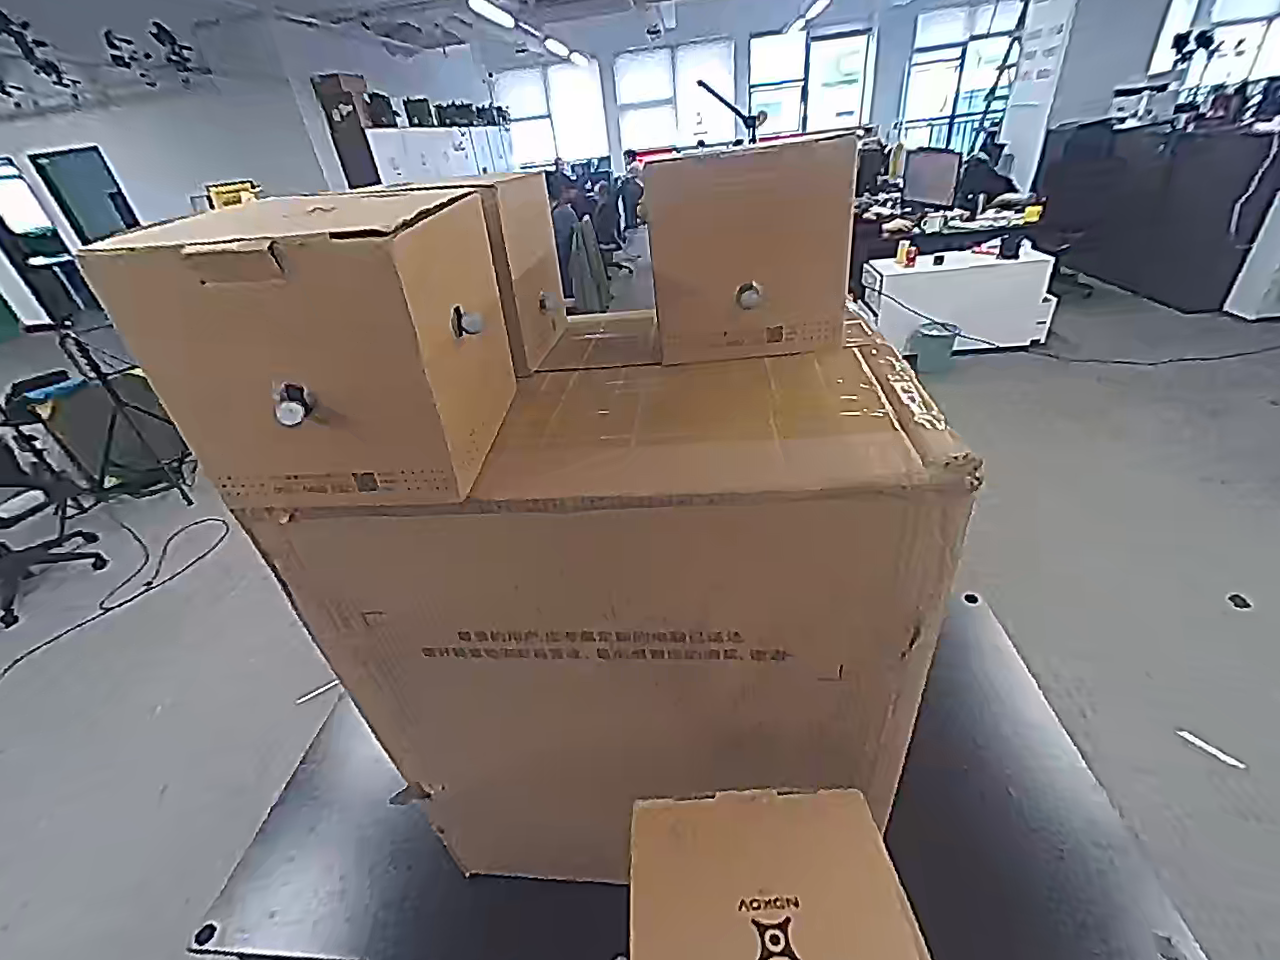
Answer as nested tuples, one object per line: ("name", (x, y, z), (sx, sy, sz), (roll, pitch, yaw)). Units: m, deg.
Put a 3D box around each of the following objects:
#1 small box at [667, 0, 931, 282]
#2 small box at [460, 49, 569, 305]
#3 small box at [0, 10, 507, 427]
("small box", (0.112, -0.269, 0.448), (0.168, 0.176, 0.179), (-4, 31, 7))
("small box", (-0.173, -0.251, 0.474), (0.179, 0.176, 0.168), (0, 33, 7))
("small box", (-0.182, -0.139, 0.303), (0.168, 0.176, 0.179), (-2, 36, 1))
